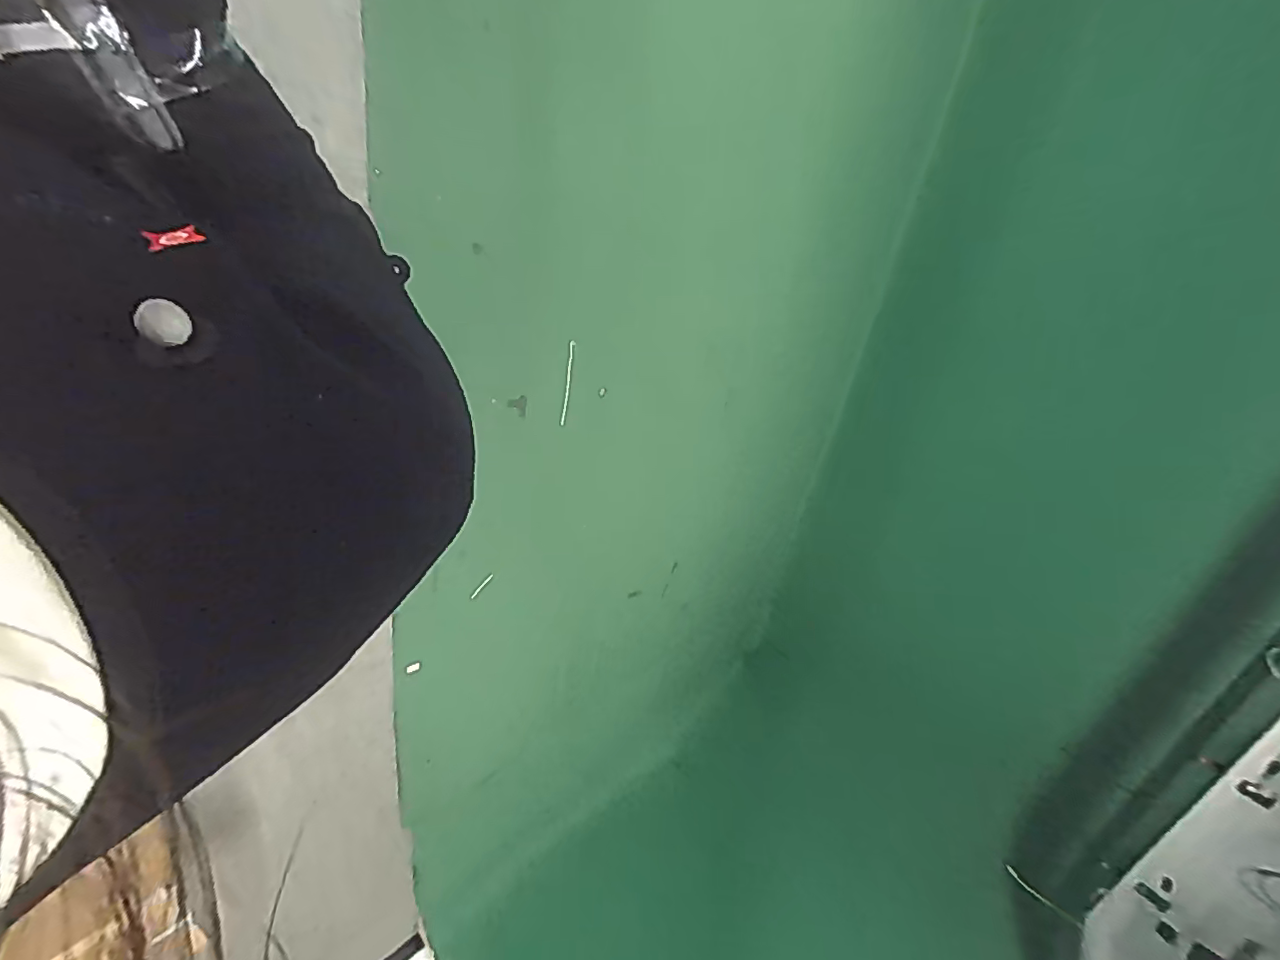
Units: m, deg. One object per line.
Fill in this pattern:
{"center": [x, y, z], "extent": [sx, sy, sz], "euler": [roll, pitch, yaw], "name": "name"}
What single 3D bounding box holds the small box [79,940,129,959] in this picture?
{"center": [-1.215, 1.168, 1.172], "extent": [0.179, 0.176, 0.168], "euler": [-22, 128, -40], "name": "small box"}
